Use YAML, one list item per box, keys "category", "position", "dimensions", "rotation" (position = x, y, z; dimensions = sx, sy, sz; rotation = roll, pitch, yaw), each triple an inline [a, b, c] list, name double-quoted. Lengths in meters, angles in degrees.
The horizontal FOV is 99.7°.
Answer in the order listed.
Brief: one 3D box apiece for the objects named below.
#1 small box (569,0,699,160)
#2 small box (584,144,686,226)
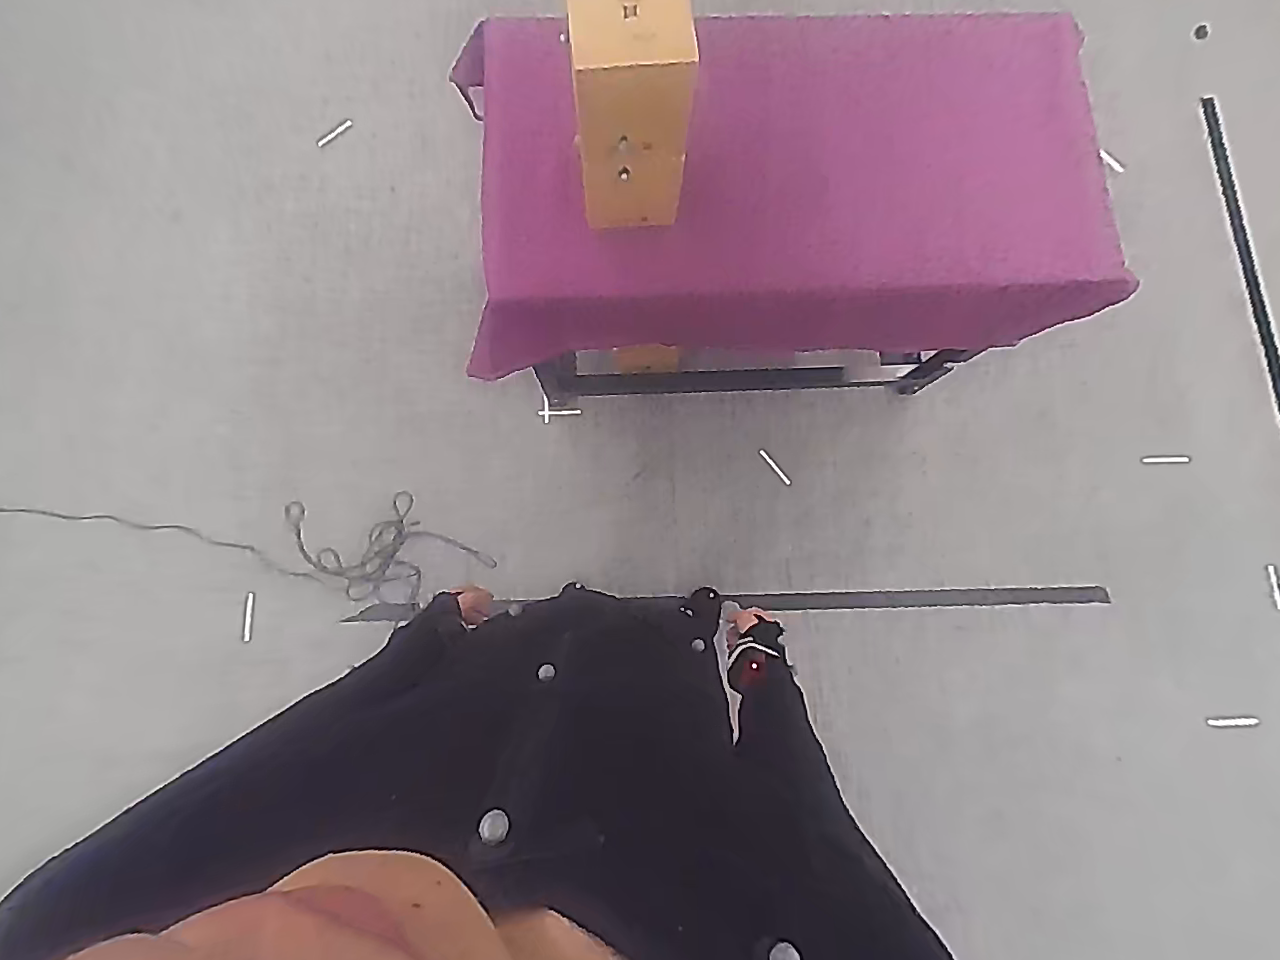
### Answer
- category: "small box"
  position: [-0.015, -0.607, 0.790]
  dimensions: [0.168, 0.176, 0.179]
  rotation: [-6, 81, -3]
- category: "small box"
  position: [-0.015, -0.579, 0.951]
  dimensions: [0.168, 0.176, 0.179]
  rotation: [-4, 81, -2]
